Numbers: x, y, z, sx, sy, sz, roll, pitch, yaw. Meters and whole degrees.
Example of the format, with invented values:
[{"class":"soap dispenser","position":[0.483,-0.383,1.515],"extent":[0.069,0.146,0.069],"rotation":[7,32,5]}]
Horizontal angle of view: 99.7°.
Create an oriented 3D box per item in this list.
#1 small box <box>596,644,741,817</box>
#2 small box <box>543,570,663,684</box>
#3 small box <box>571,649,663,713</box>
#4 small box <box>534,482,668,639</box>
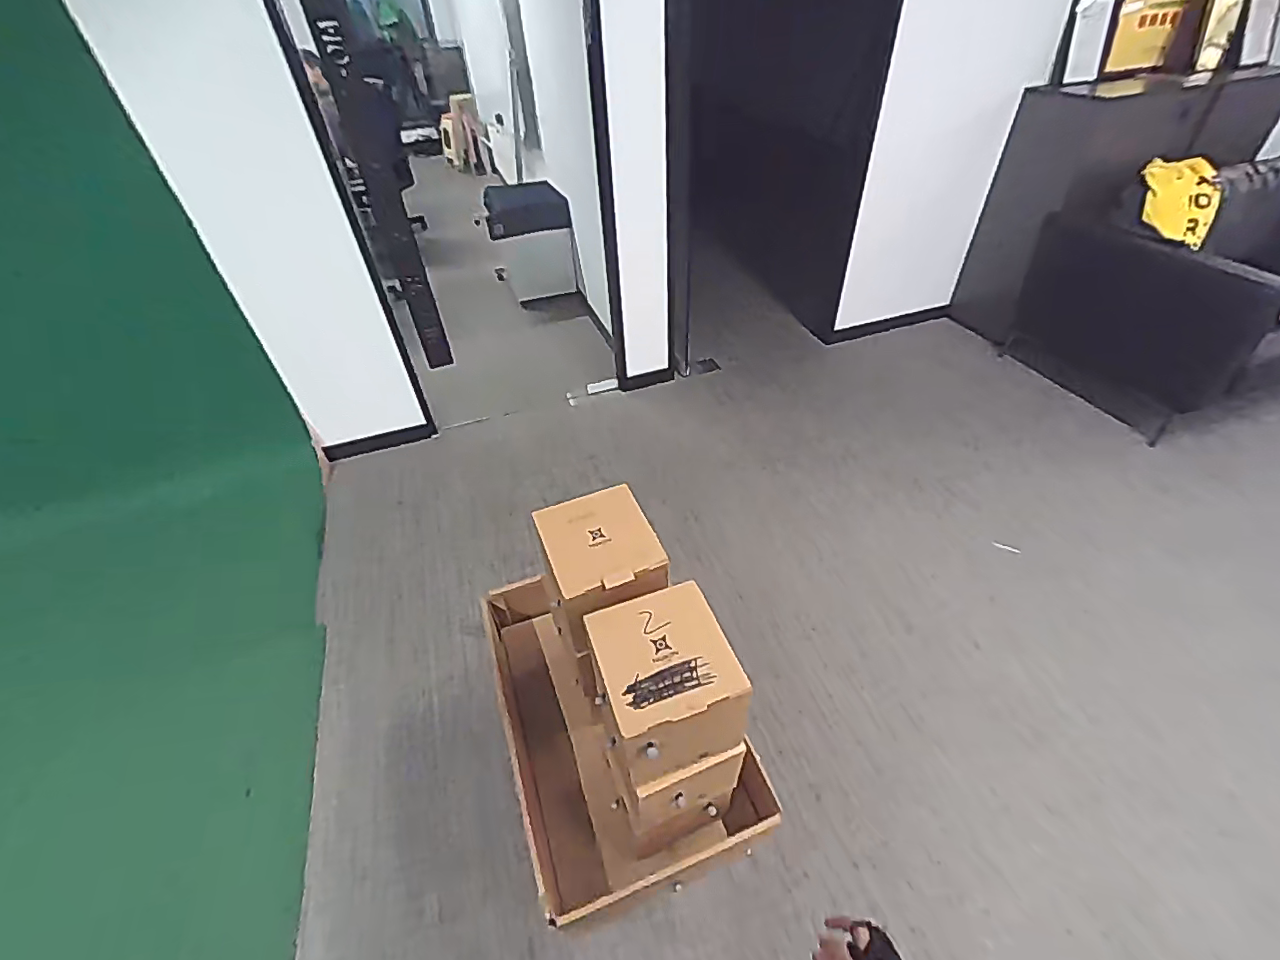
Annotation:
[{"class":"small box","position":[0.041,0.396,0.846],"extent":[0.168,0.176,0.179],"rotation":[-17,45,-14]},{"class":"small box","position":[-0.066,0.253,1.002],"extent":[0.168,0.176,0.179],"rotation":[-20,48,-17]},{"class":"small box","position":[-0.058,0.360,1.126],"extent":[0.168,0.176,0.179],"rotation":[-18,50,-16]},{"class":"small box","position":[-0.061,0.138,0.886],"extent":[0.168,0.176,0.179],"rotation":[-17,48,-15]}]
